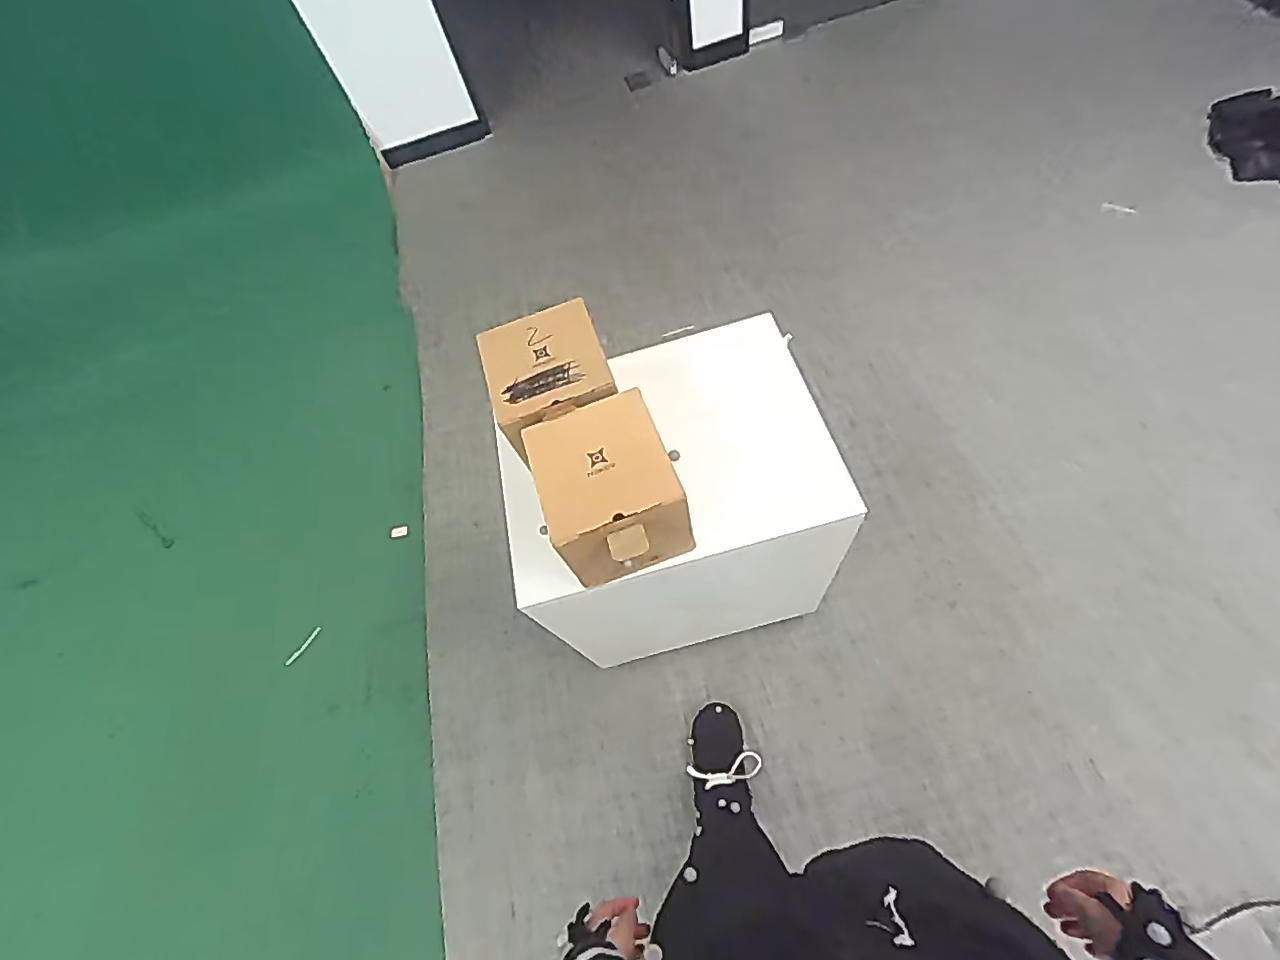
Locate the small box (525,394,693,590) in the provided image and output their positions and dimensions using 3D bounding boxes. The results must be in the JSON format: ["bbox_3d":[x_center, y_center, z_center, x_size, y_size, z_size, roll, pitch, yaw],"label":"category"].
[{"bbox_3d":[-0.036,0.022,0.726,0.168,0.176,0.179,-21,60,-2],"label":"small box"}]
